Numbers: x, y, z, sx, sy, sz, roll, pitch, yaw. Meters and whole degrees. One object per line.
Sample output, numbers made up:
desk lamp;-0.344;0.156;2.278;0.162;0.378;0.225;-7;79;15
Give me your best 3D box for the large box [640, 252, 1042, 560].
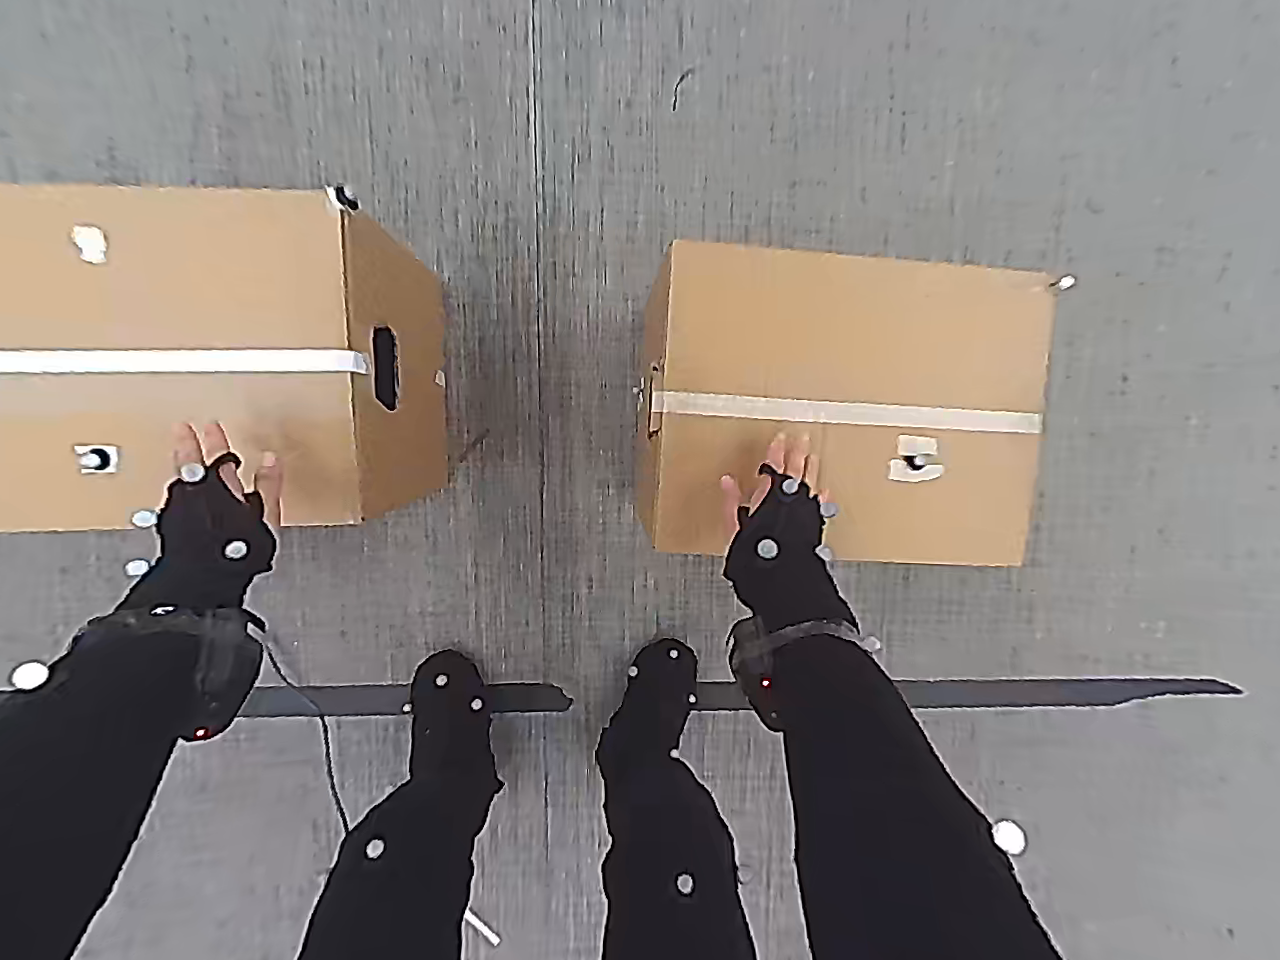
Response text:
large box;0.214;-0.081;0.719;0.408;0.320;0.320;3;95;-5
